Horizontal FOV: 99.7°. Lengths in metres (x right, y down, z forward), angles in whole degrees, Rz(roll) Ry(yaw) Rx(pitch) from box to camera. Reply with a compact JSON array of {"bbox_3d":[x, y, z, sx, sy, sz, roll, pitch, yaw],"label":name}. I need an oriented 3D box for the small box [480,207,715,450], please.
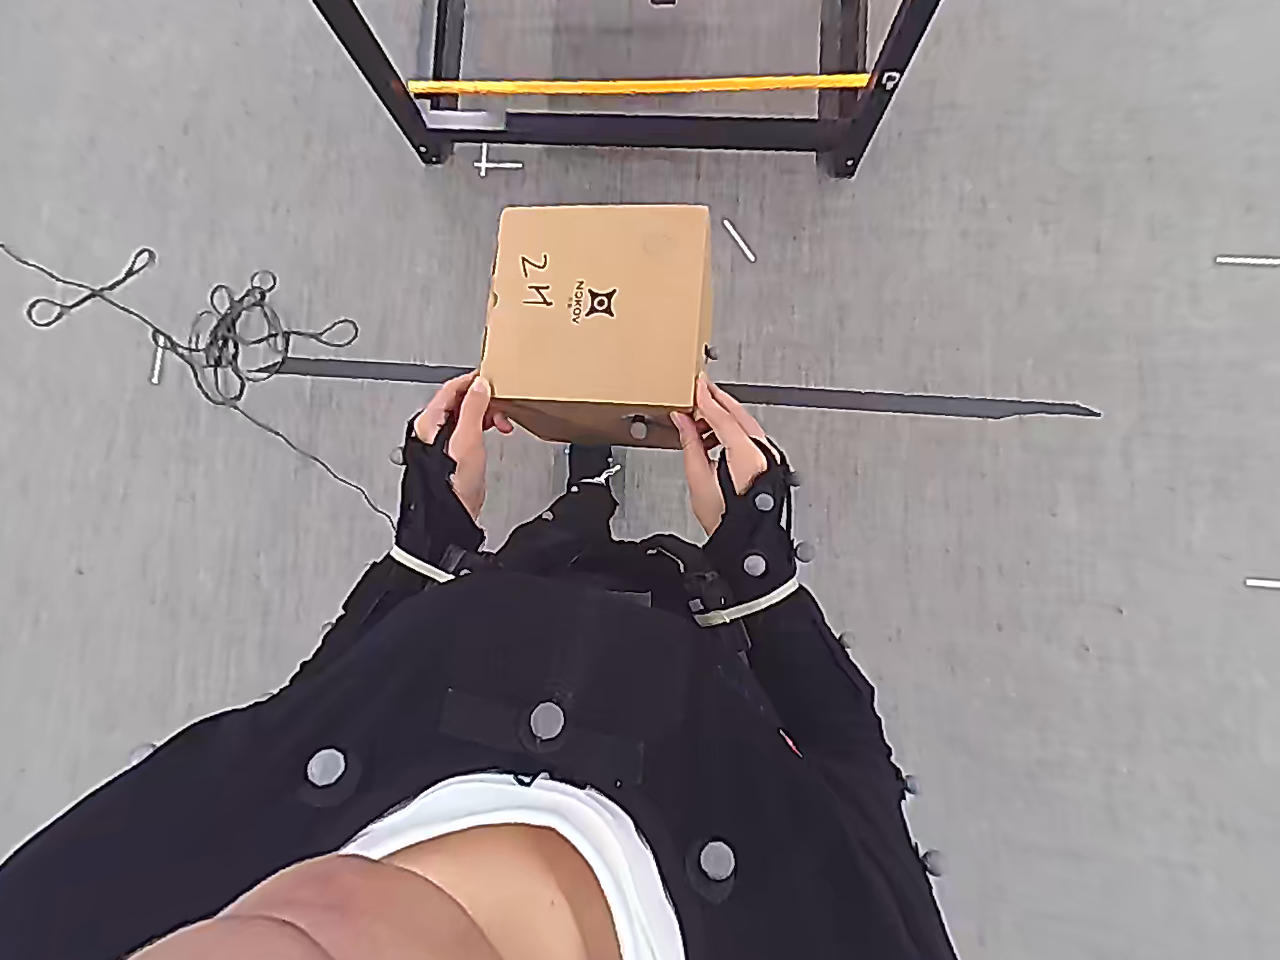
[{"bbox_3d":[-0.023,-0.127,0.506,0.179,0.176,0.168,5,81,10],"label":"small box"}]
